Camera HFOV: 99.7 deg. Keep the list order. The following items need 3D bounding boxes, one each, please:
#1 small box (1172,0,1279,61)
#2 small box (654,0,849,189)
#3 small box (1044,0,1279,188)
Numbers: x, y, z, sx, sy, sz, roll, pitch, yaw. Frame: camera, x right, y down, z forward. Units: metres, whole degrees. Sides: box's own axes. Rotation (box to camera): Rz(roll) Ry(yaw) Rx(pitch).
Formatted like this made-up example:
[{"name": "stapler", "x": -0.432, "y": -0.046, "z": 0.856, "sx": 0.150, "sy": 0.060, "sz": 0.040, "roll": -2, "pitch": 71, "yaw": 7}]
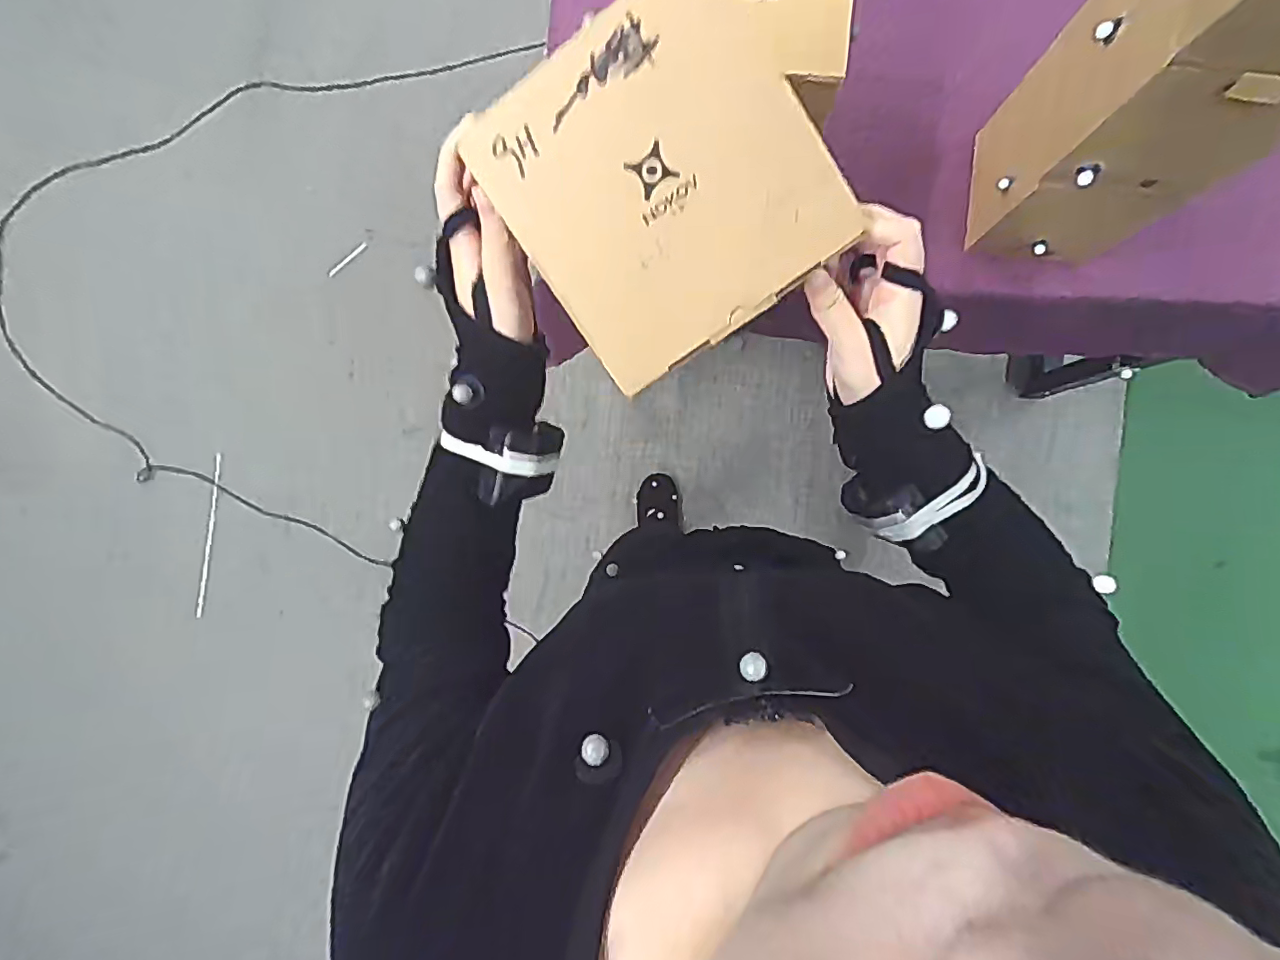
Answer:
[{"name": "small box", "x": 0.517, "y": -0.411, "z": 0.354, "sx": 0.179, "sy": 0.176, "sz": 0.168, "roll": 10, "pitch": 90, "yaw": 5}, {"name": "small box", "x": 0.107, "y": -0.434, "z": 0.554, "sx": 0.168, "sy": 0.176, "sz": 0.179, "roll": 6, "pitch": 88, "yaw": 5}, {"name": "small box", "x": 0.529, "y": -0.411, "z": 0.517, "sx": 0.168, "sy": 0.176, "sz": 0.179, "roll": 9, "pitch": 88, "yaw": 5}]
